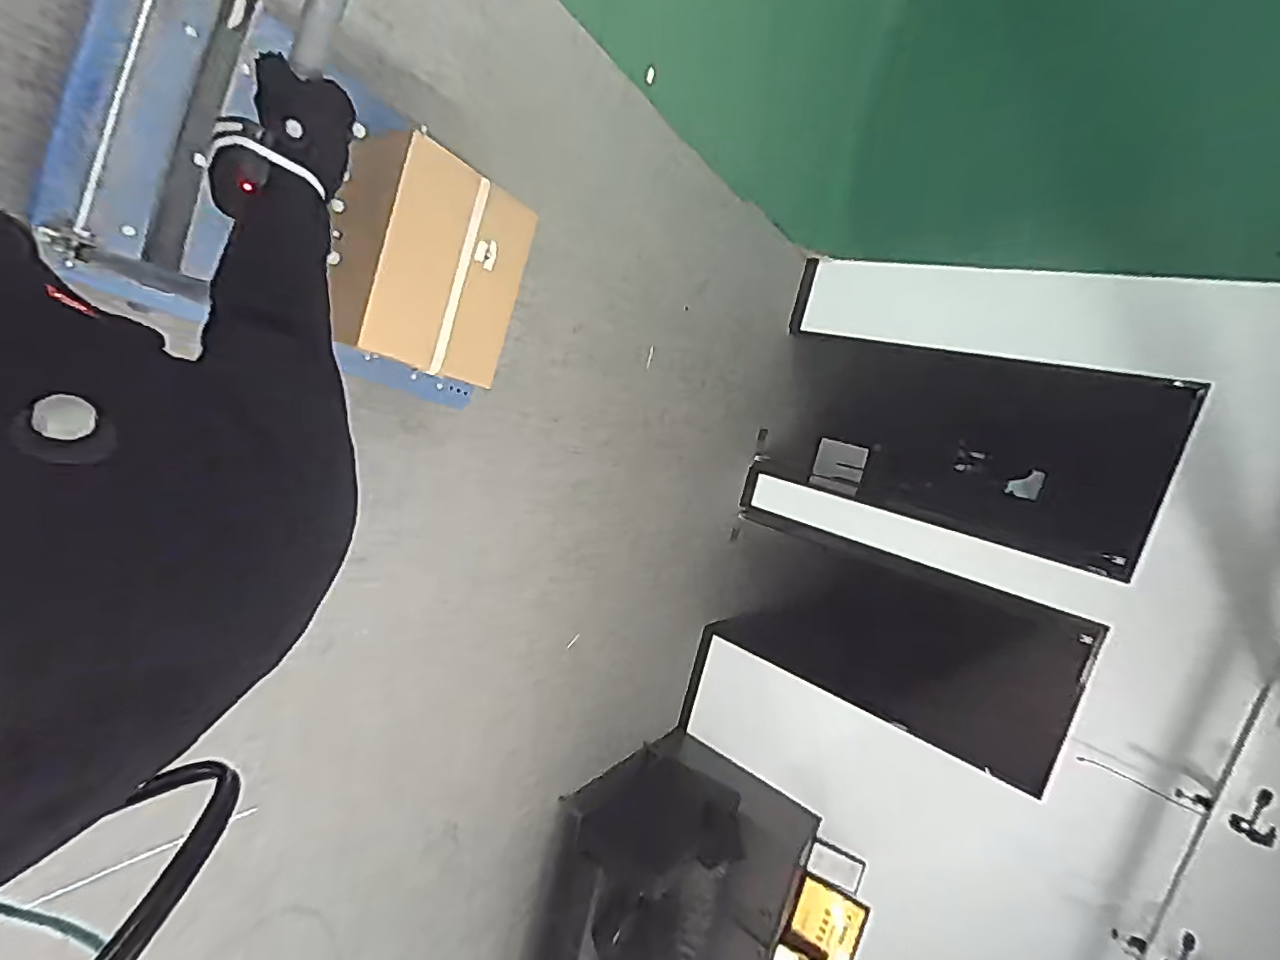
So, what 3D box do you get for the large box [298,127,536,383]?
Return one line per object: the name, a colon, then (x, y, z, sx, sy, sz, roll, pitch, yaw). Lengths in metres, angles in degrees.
large box: (-0.484, -0.460, 1.177, 0.320, 0.320, 0.408, 10, 97, -56)
